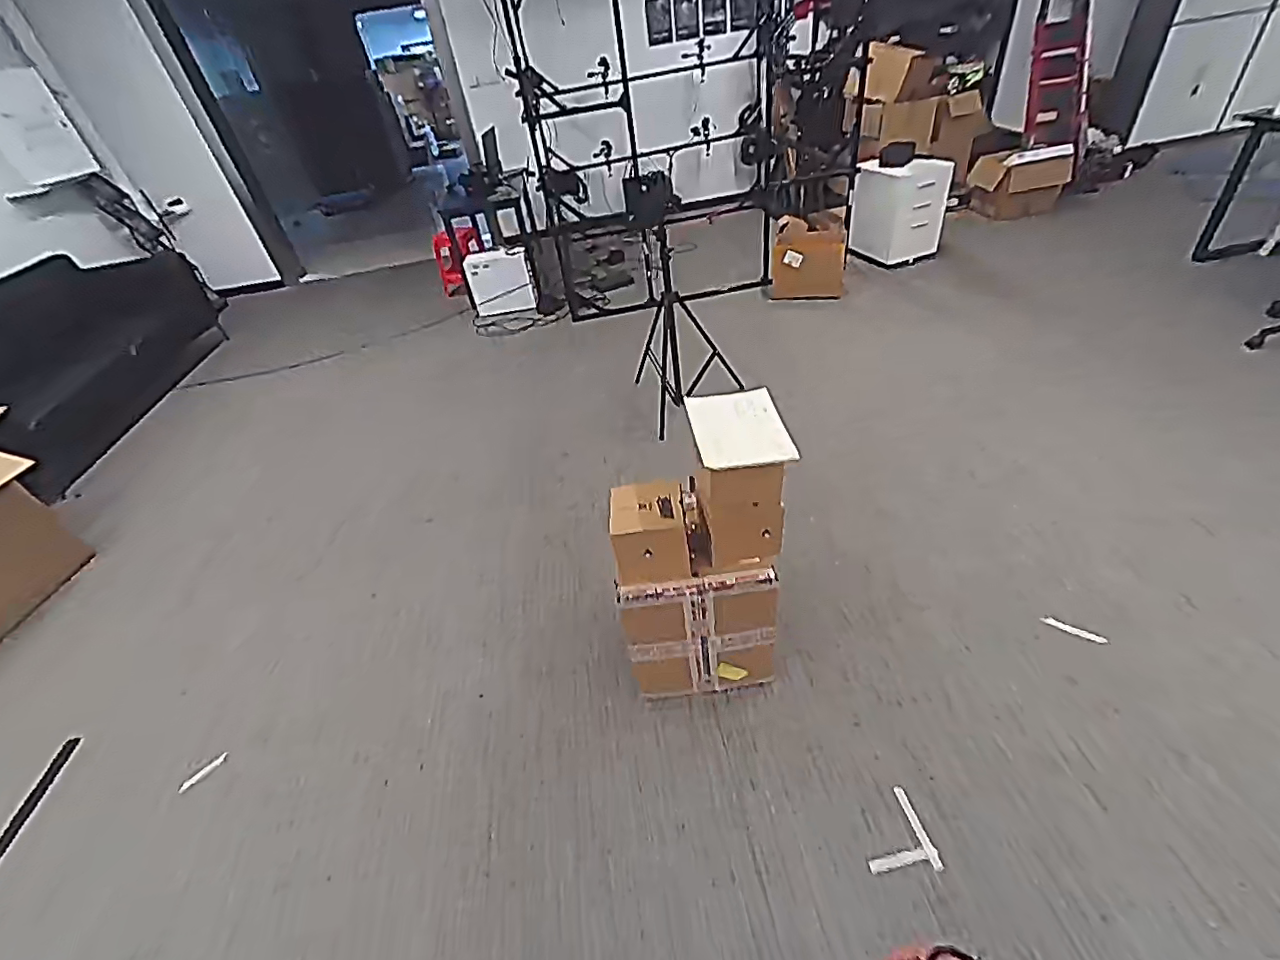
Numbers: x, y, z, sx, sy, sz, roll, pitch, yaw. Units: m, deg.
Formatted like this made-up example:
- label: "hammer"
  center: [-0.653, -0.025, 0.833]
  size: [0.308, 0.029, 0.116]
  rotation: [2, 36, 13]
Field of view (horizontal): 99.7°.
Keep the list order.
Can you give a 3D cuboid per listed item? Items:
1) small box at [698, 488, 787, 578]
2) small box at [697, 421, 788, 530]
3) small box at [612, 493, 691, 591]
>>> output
- label: "small box"
  center: [0.246, 0.118, 1.336]
  size: [0.179, 0.176, 0.168]
  rotation: [-10, 40, -3]
- label: "small box"
  center: [0.226, -0.011, 1.237]
  size: [0.168, 0.176, 0.179]
  rotation: [-9, 40, -2]
- label: "small box"
  center: [0.032, 0.155, 1.332]
  size: [0.179, 0.176, 0.168]
  rotation: [-7, 41, 5]
